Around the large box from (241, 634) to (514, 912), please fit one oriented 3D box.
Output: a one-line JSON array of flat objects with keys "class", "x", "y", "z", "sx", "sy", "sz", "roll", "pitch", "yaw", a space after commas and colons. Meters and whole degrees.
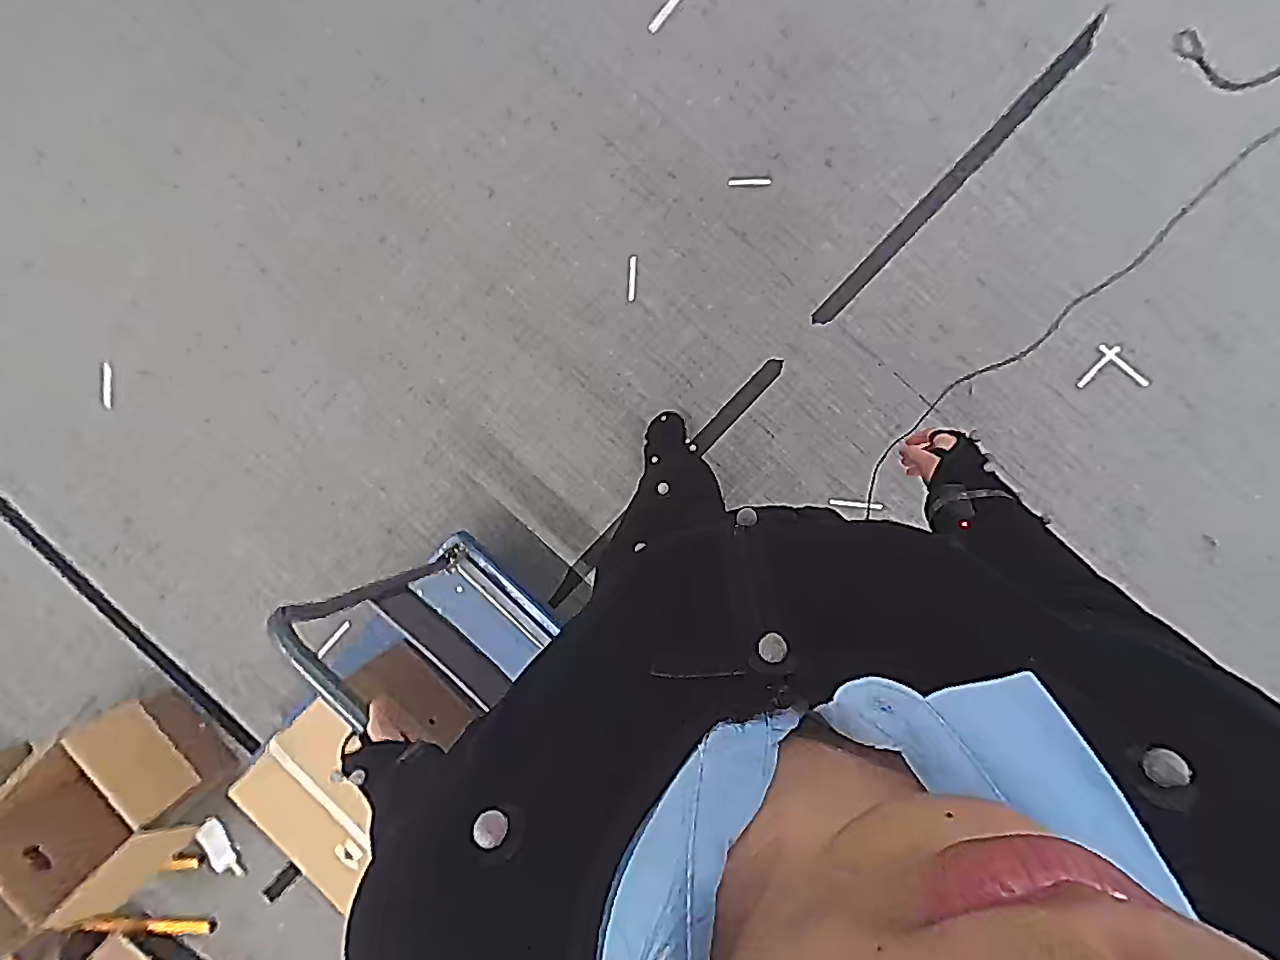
[{"class": "large box", "x": -0.572, "y": 0.640, "z": 1.250, "sx": 0.408, "sy": 0.320, "sz": 0.320, "roll": 44, "pitch": 96, "yaw": 0}]
